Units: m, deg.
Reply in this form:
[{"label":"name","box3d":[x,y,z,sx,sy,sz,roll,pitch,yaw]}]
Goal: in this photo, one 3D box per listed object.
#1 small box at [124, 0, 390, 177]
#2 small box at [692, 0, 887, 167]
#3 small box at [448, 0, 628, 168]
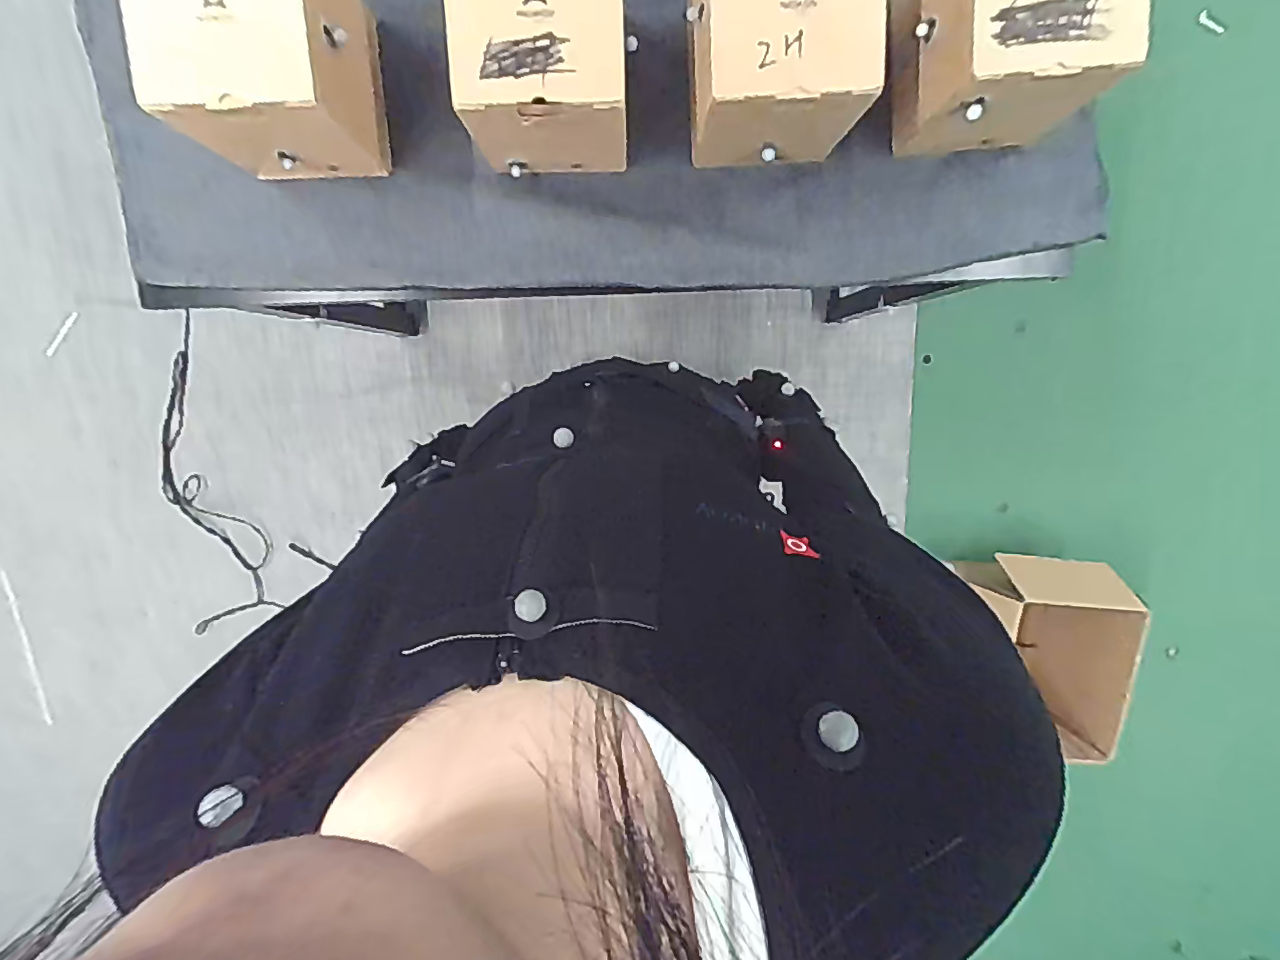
[{"label":"small box","box3d":[-0.384,-0.445,0.568,0.168,0.176,0.179,-3,99,-2]},{"label":"small box","box3d":[0.146,-0.464,0.578,0.168,0.176,0.179,-3,100,1]},{"label":"small box","box3d":[-0.096,-0.452,0.574,0.168,0.176,0.179,-1,100,-2]}]
